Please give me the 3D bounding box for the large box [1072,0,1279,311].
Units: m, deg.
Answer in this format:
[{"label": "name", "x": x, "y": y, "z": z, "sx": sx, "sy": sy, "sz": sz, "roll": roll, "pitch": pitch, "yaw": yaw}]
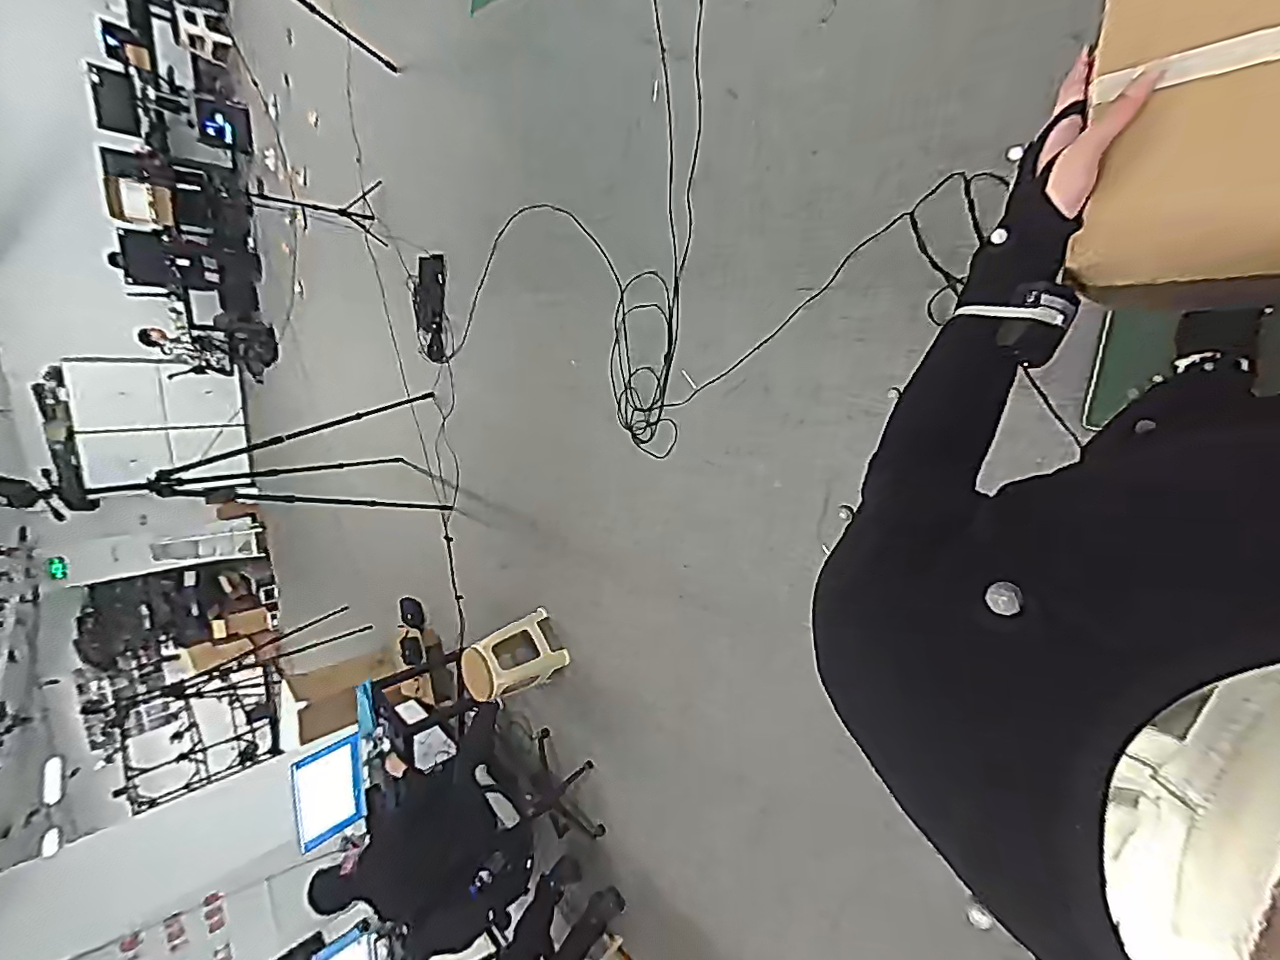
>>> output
[{"label": "large box", "x": 0.632, "y": -0.320, "z": 0.423, "sx": 0.408, "sy": 0.320, "sz": 0.320, "roll": 12, "pitch": 107, "yaw": 44}]
